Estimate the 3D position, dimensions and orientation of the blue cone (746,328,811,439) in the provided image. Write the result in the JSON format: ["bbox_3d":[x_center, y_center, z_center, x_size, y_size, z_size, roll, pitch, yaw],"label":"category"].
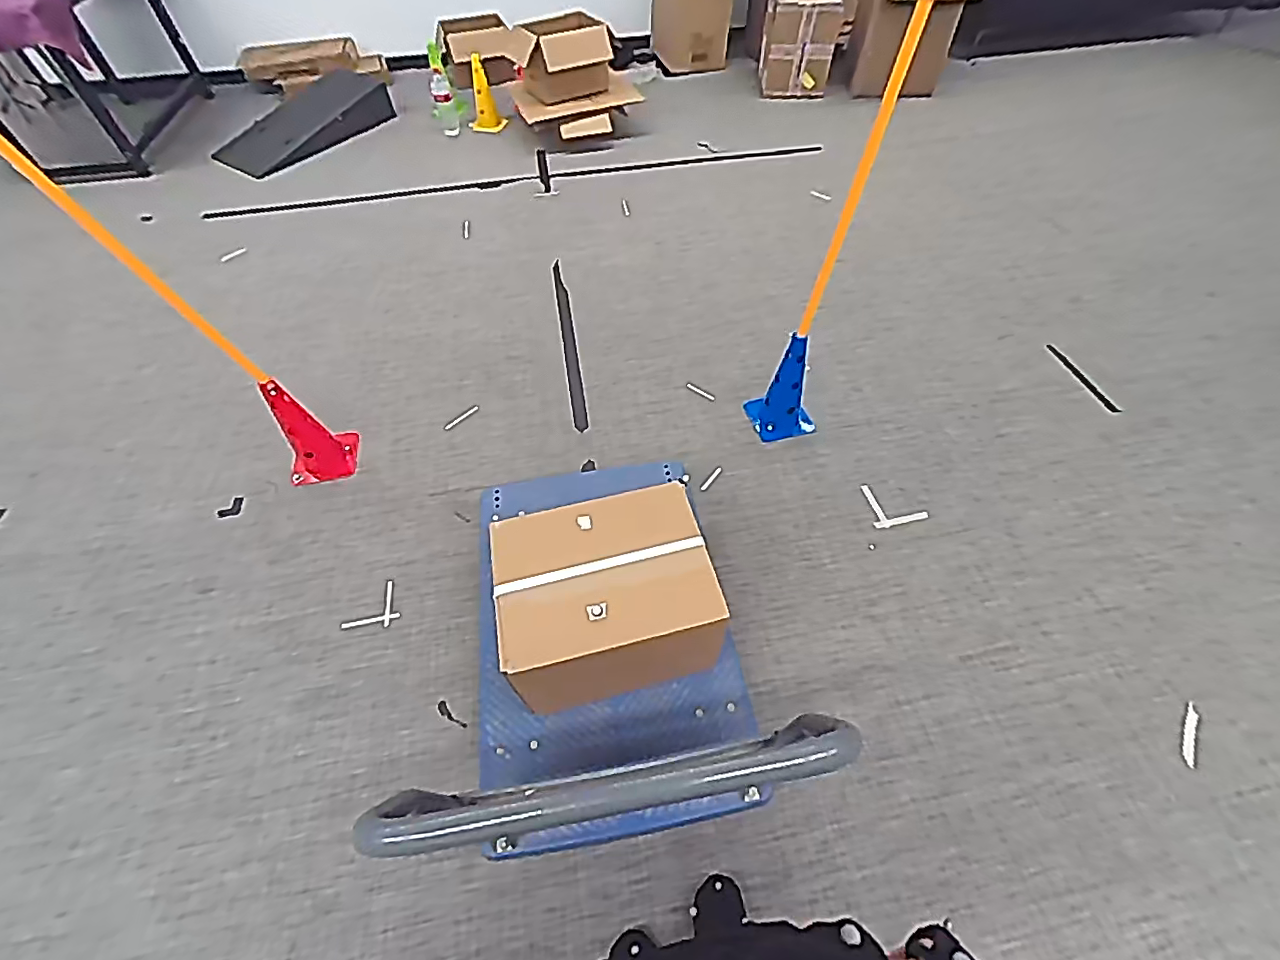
[{"bbox_3d":[0.484,-0.323,1.760,0.193,0.380,0.192,-12,53,-8],"label":"blue cone"}]
